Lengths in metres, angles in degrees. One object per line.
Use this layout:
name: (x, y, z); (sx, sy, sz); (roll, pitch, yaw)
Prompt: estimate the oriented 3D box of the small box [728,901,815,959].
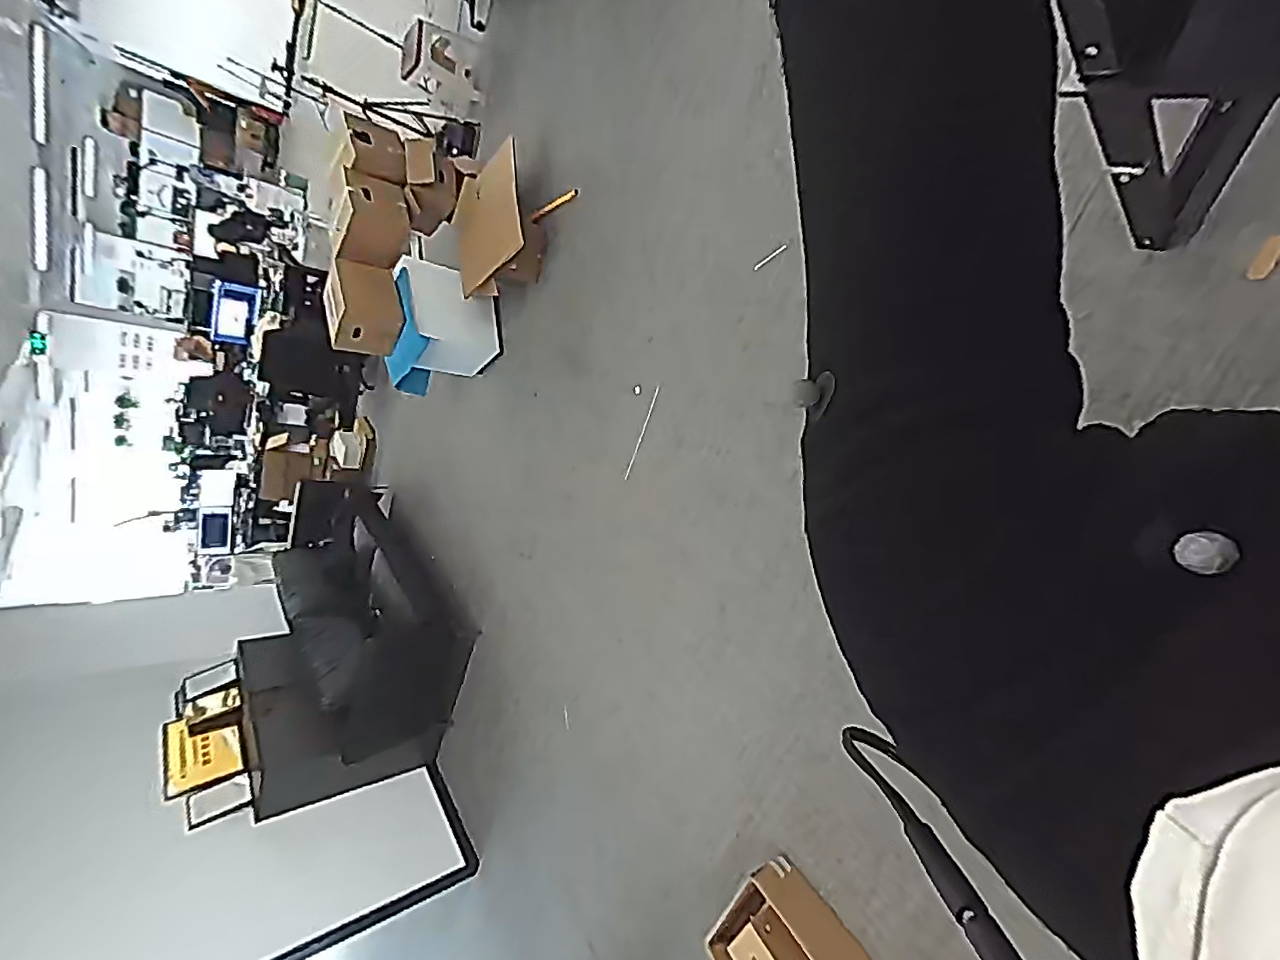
small box: (0.429, 1.519, 1.758); (0.179, 0.176, 0.168); (45, 119, 39)
